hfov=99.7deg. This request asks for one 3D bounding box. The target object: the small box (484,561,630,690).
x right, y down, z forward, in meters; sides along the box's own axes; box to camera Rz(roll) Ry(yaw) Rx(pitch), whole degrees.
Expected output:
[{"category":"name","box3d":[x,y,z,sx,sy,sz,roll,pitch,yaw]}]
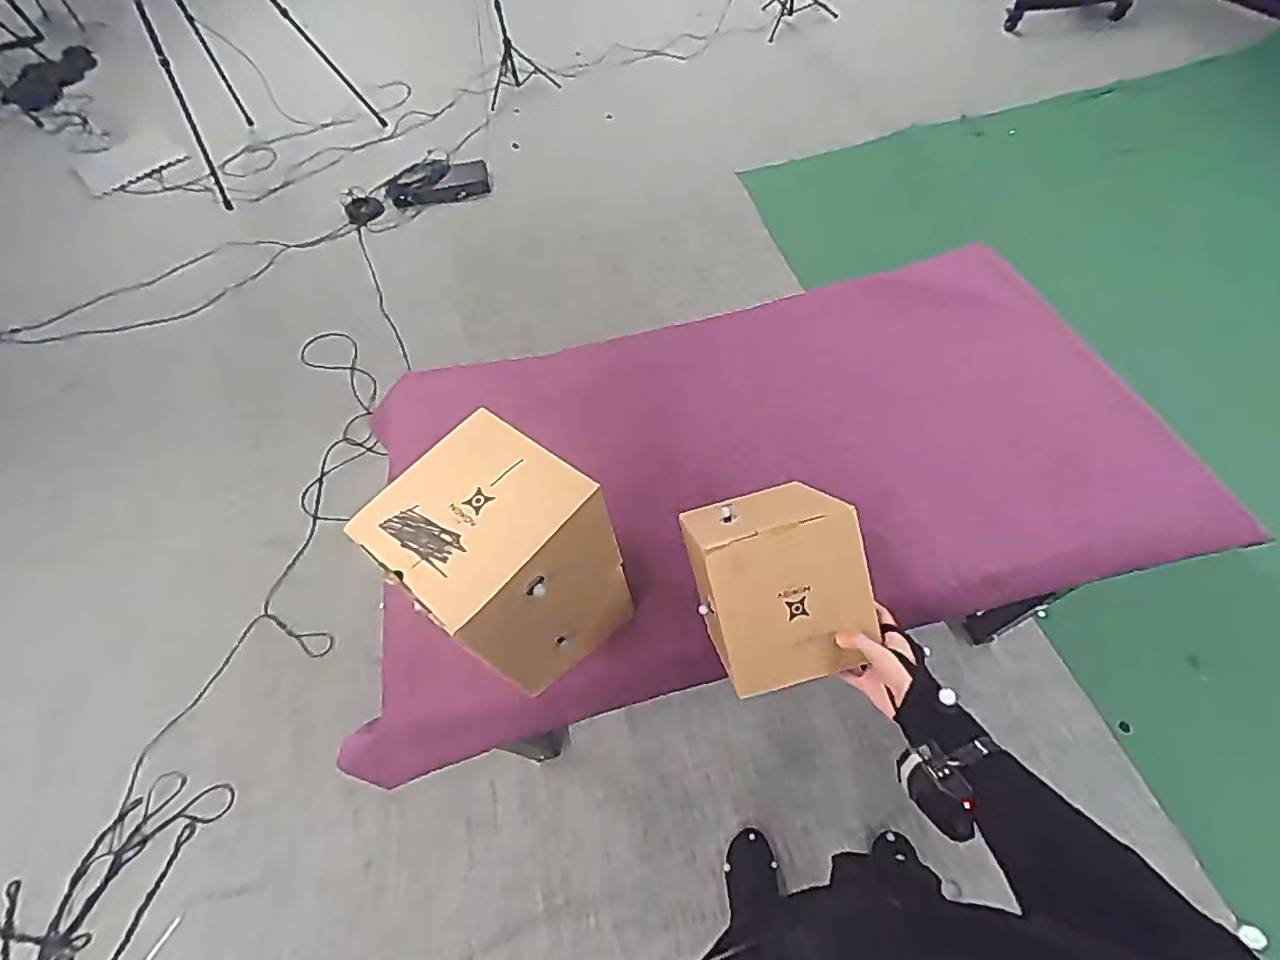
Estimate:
[{"category":"small box","box3d":[-0.131,0.143,0.701,0.179,0.176,0.168,-36,60,-15]}]

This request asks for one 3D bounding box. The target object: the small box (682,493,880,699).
[{"category":"small box","box3d":[0.154,0.120,0.641,0.168,0.176,0.179,-14,100,-1]}]

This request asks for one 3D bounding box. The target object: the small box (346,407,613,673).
[{"category":"small box","box3d":[-0.145,0.066,0.555,0.168,0.176,0.179,33,65,24]}]
